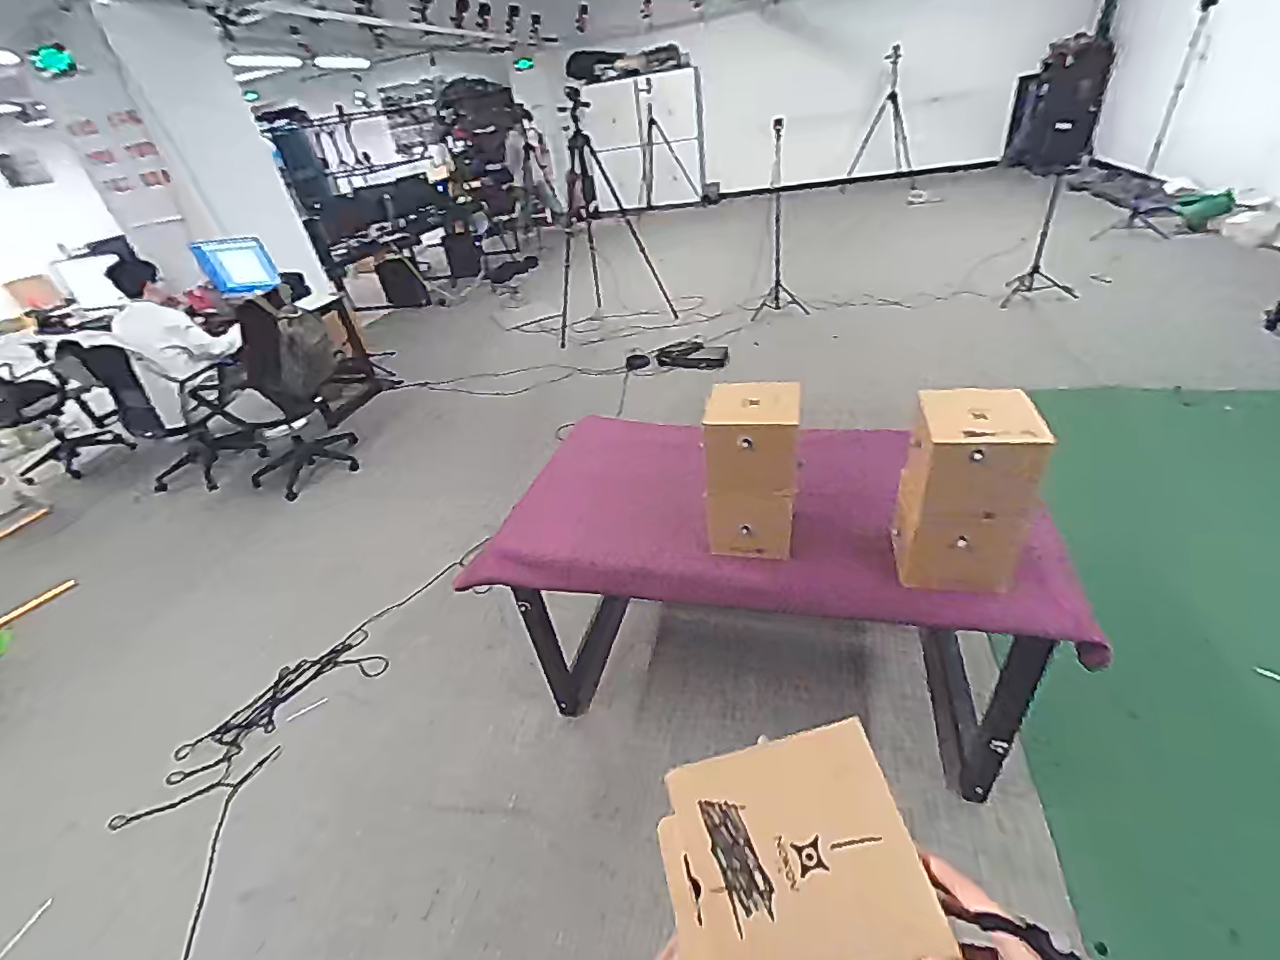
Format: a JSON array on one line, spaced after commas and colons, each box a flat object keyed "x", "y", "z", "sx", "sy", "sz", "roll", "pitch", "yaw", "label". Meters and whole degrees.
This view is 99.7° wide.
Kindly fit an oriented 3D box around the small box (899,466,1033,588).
[{"x": 0.600, "y": 0.088, "z": 1.022, "sx": 0.179, "sy": 0.176, "sz": 0.168, "roll": 0, "pitch": 37, "yaw": 18, "label": "small box"}]

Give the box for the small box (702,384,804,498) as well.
[{"x": 0.231, "y": -0.078, "z": 1.076, "sx": 0.179, "sy": 0.176, "sz": 0.168, "roll": 2, "pitch": 37, "yaw": 18, "label": "small box"}]

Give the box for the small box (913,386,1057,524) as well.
[{"x": 0.575, "y": -0.045, "z": 0.929, "sx": 0.168, "sy": 0.176, "sz": 0.179, "roll": -1, "pitch": 36, "yaw": 19, "label": "small box"}]

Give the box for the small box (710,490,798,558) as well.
[{"x": 0.254, "y": 0.051, "z": 1.173, "sx": 0.168, "sy": 0.176, "sz": 0.179, "roll": 2, "pitch": 36, "yaw": 18, "label": "small box"}]

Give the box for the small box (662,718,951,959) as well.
[{"x": 0.134, "y": 0.340, "z": 0.489, "sx": 0.179, "sy": 0.176, "sz": 0.168, "roll": -17, "pitch": 55, "yaw": 0, "label": "small box"}]
